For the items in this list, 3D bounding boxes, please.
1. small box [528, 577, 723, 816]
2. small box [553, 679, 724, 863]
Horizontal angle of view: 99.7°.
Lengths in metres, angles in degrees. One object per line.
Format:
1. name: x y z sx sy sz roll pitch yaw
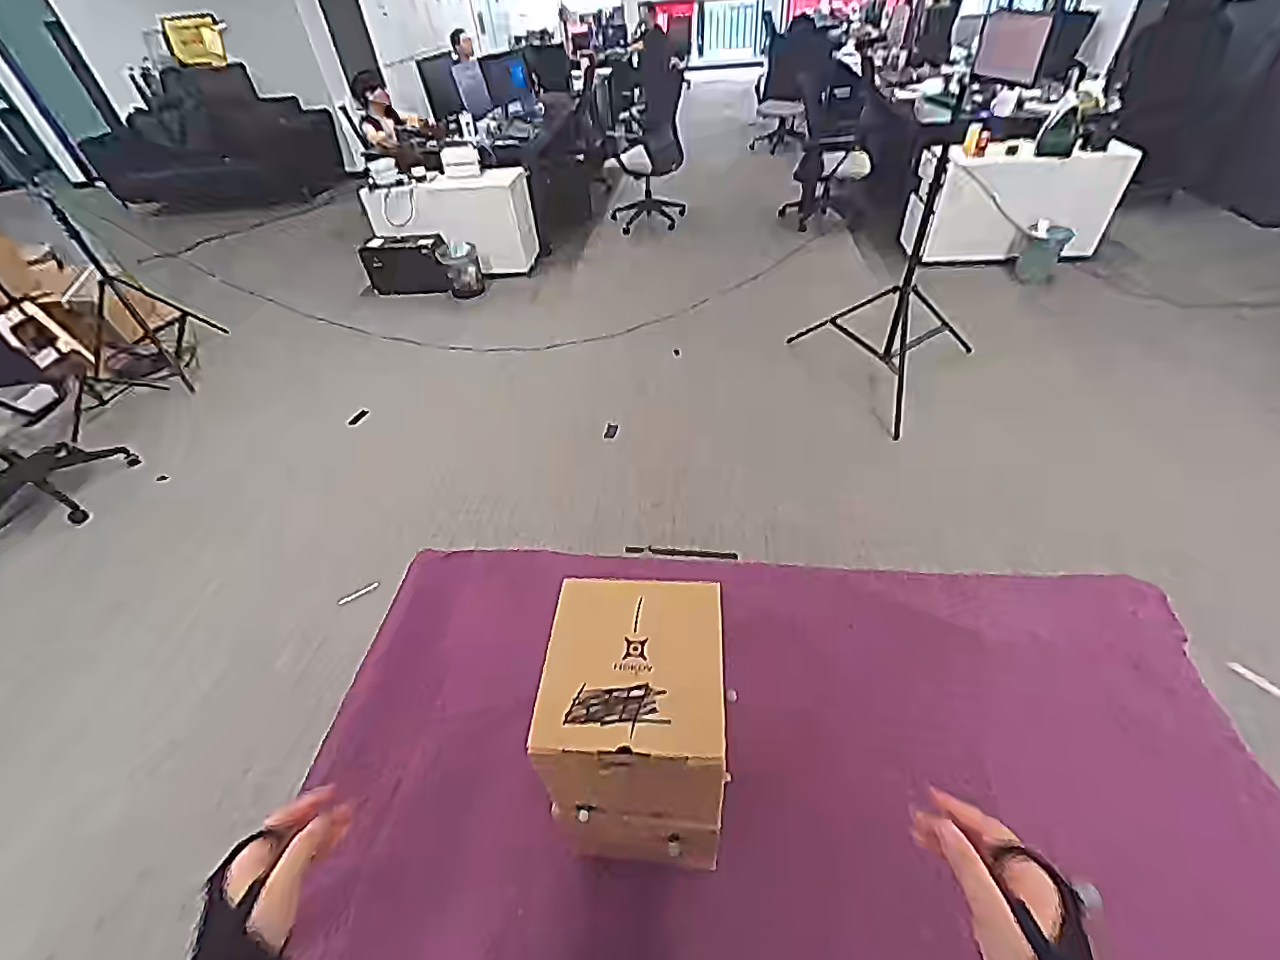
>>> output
1. small box: 0.000 0.220 0.551 0.168 0.176 0.179 0 42 6
2. small box: 0.010 0.345 0.658 0.179 0.176 0.168 1 43 8
